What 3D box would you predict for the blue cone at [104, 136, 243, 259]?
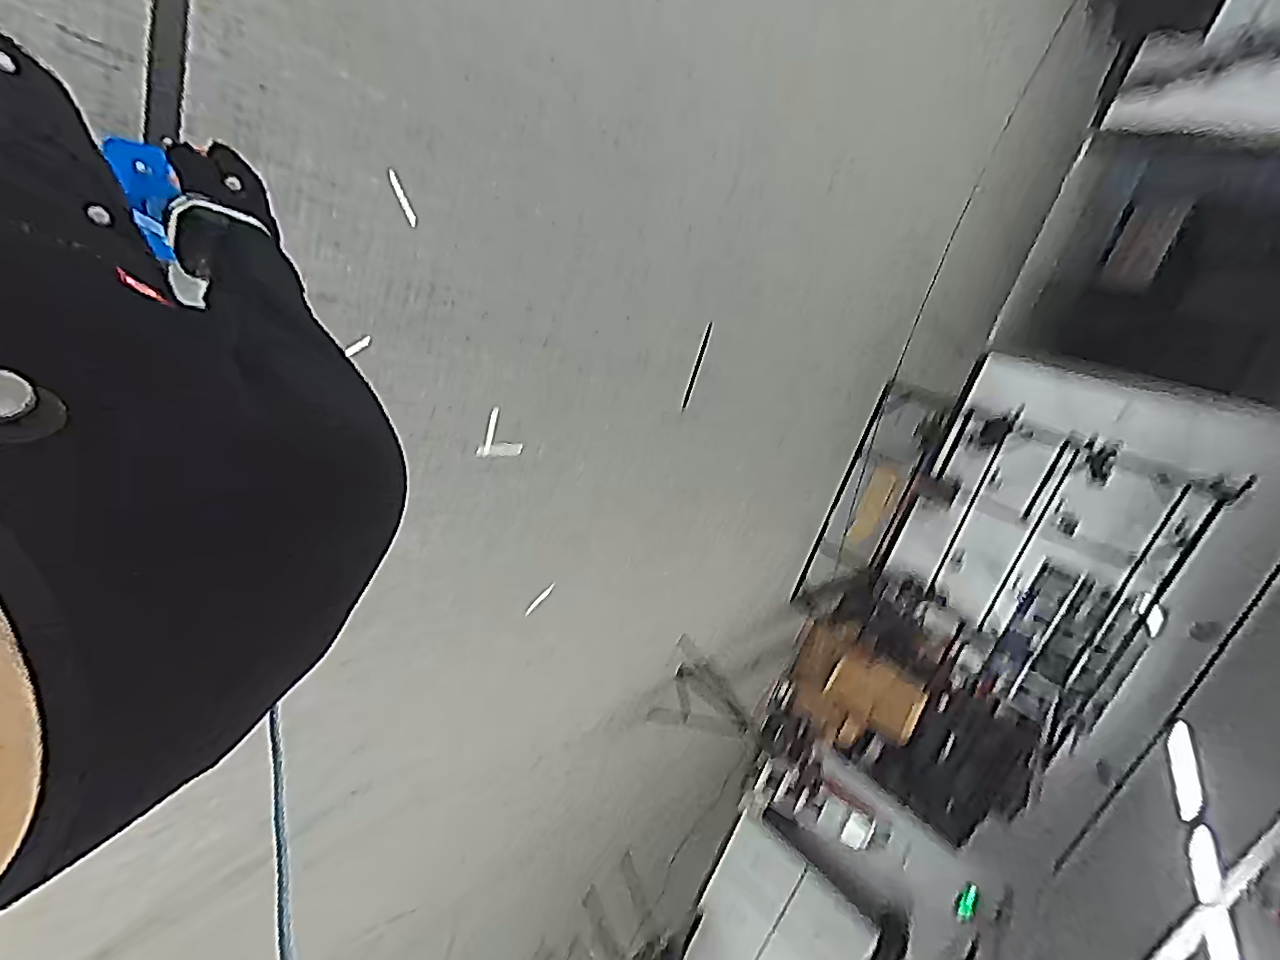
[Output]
[{"bbox_3d":[-0.788,-0.470,0.954,0.192,0.380,0.193,-7,120,-49],"label":"blue cone"}]
